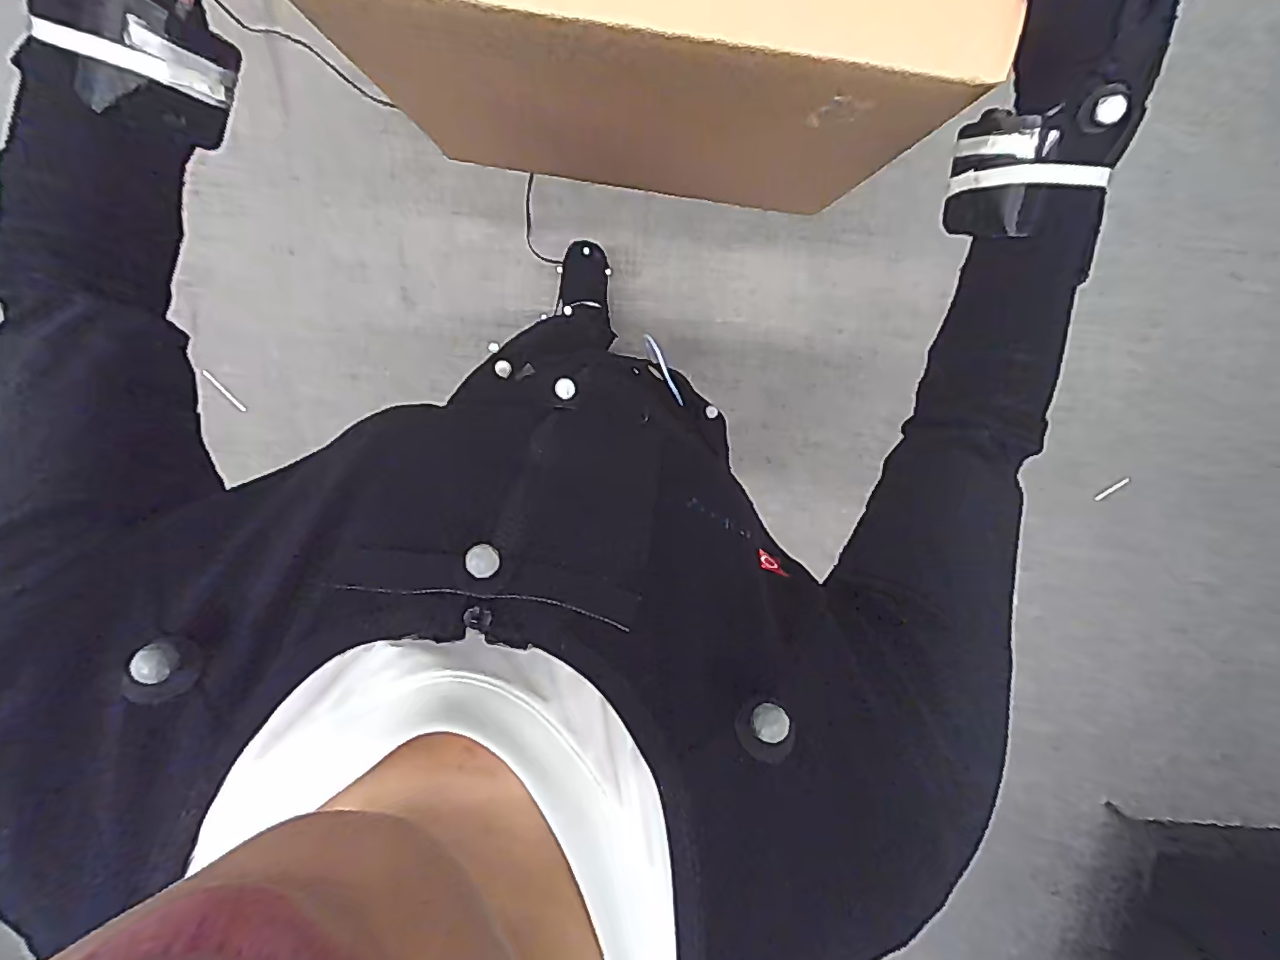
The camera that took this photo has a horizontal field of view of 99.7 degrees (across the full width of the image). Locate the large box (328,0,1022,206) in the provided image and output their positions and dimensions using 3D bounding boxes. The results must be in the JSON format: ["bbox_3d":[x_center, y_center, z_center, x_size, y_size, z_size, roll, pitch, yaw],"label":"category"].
[{"bbox_3d":[0.022,-0.431,0.406,0.408,0.320,0.320,7,104,-4],"label":"large box"}]
